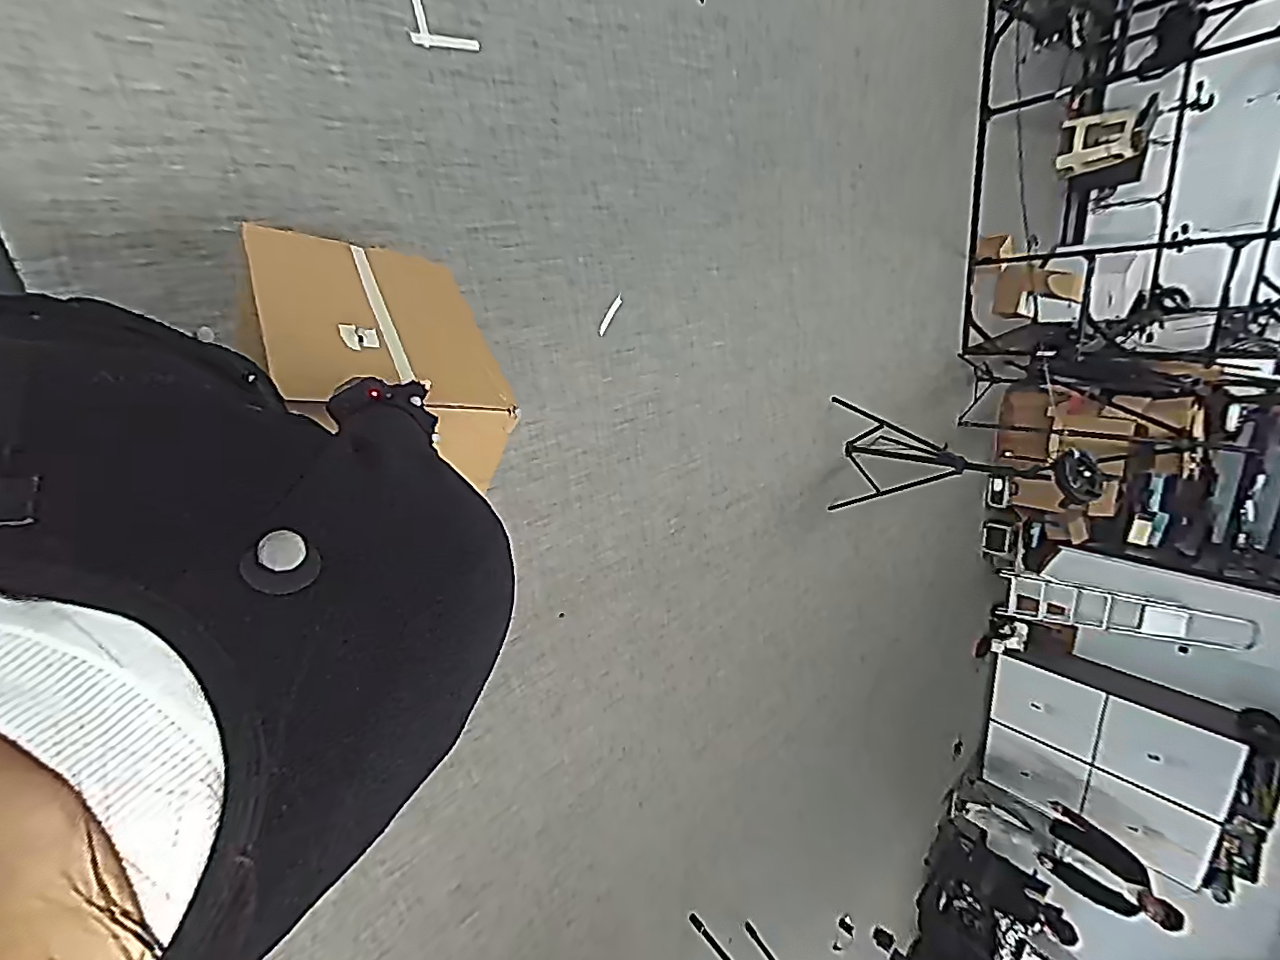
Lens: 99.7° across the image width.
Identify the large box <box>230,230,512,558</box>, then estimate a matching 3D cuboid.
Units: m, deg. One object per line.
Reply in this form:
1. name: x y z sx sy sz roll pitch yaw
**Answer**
1. large box: -0.467 -0.134 0.897 0.320 0.408 0.320 -4 141 -39
